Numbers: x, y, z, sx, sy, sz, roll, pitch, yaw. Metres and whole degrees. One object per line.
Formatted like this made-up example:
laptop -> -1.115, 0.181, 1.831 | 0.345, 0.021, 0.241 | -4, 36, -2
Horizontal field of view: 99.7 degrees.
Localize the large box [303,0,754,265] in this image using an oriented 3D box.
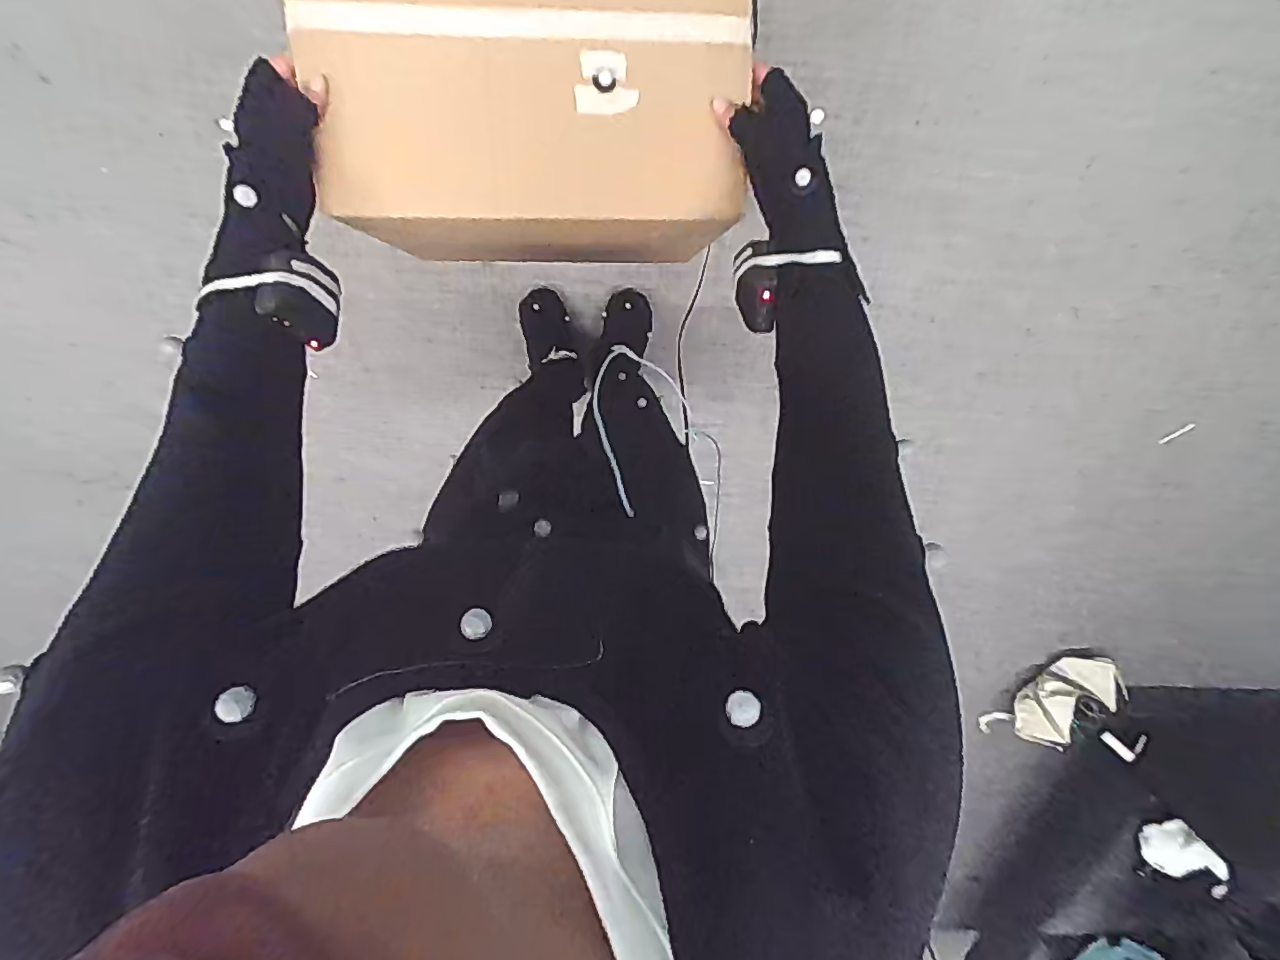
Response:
large box -> -0.110, -0.439, 0.626 | 0.408, 0.320, 0.320 | -2, 104, -6
